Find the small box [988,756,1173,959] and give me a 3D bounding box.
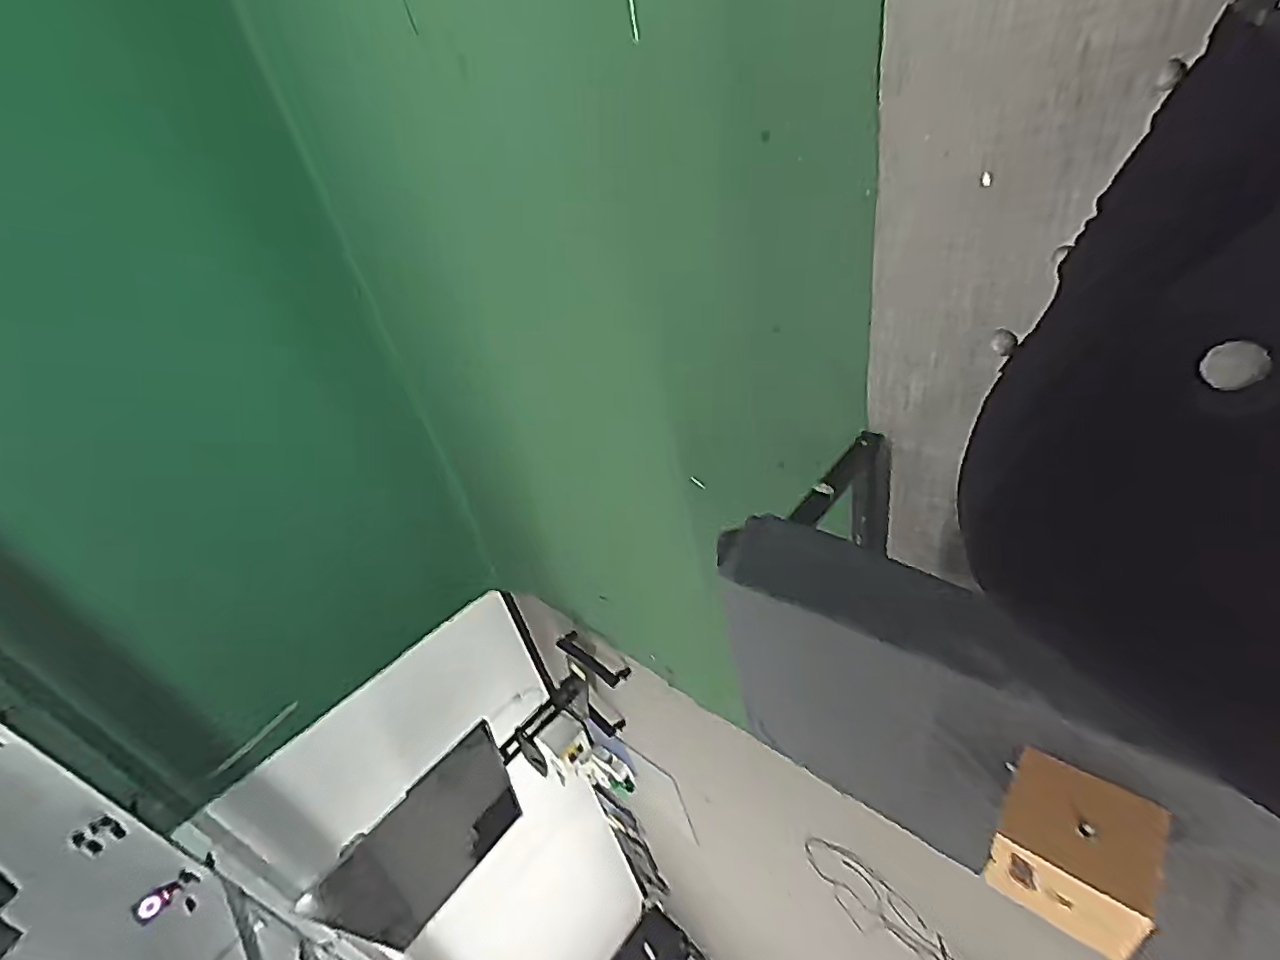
[{"bbox_3d":[0.662,0.559,0.821,0.179,0.176,0.168,17,134,40],"label":"small box"}]
